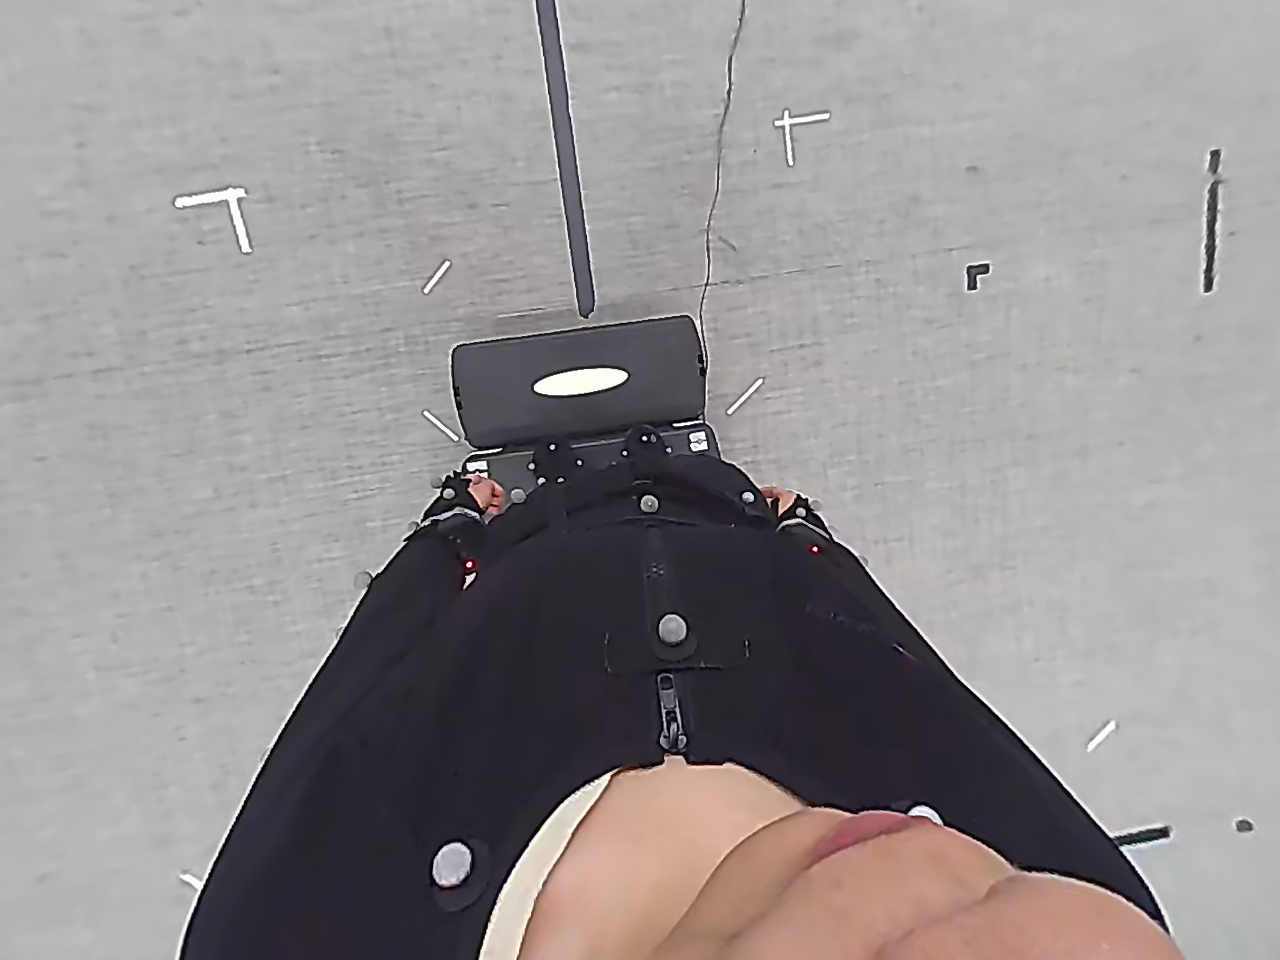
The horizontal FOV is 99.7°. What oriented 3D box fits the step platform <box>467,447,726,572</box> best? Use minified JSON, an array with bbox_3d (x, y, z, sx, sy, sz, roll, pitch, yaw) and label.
[{"bbox_3d":[-0.111,0.074,1.463,0.684,0.204,0.286,-4,96,-2],"label":"step platform"}]
